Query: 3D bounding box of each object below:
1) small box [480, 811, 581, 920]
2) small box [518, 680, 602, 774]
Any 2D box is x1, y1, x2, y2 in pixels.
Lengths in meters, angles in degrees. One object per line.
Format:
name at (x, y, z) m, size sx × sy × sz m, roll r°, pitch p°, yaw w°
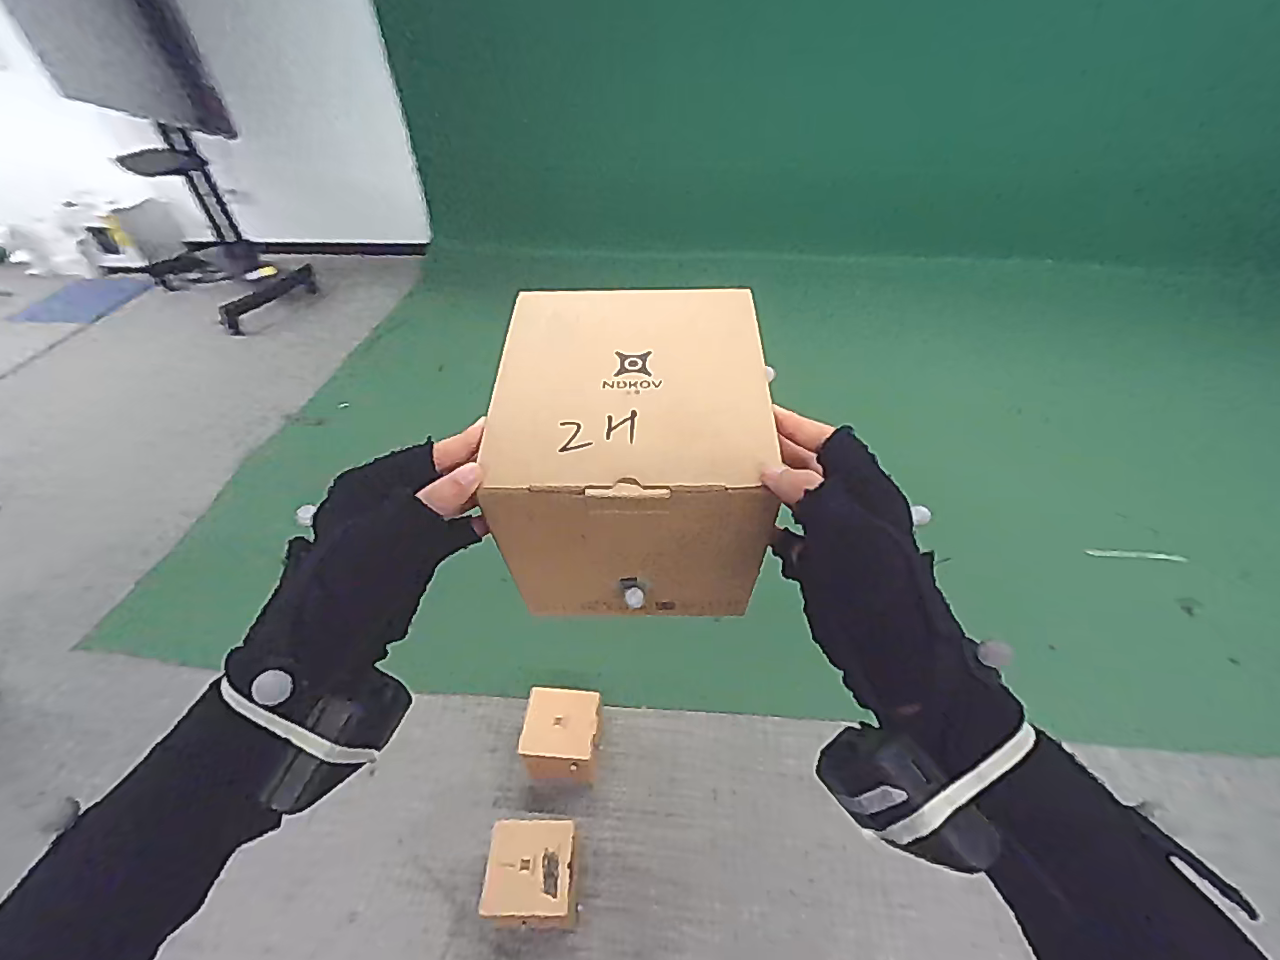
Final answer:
small box at (-0.225, 0.831, 1.166) m, size 0.179 × 0.176 × 0.168 m, roll -1°, pitch 43°, yaw 1°
small box at (-0.196, 0.631, 1.377) m, size 0.179 × 0.176 × 0.168 m, roll 3°, pitch 45°, yaw 3°
